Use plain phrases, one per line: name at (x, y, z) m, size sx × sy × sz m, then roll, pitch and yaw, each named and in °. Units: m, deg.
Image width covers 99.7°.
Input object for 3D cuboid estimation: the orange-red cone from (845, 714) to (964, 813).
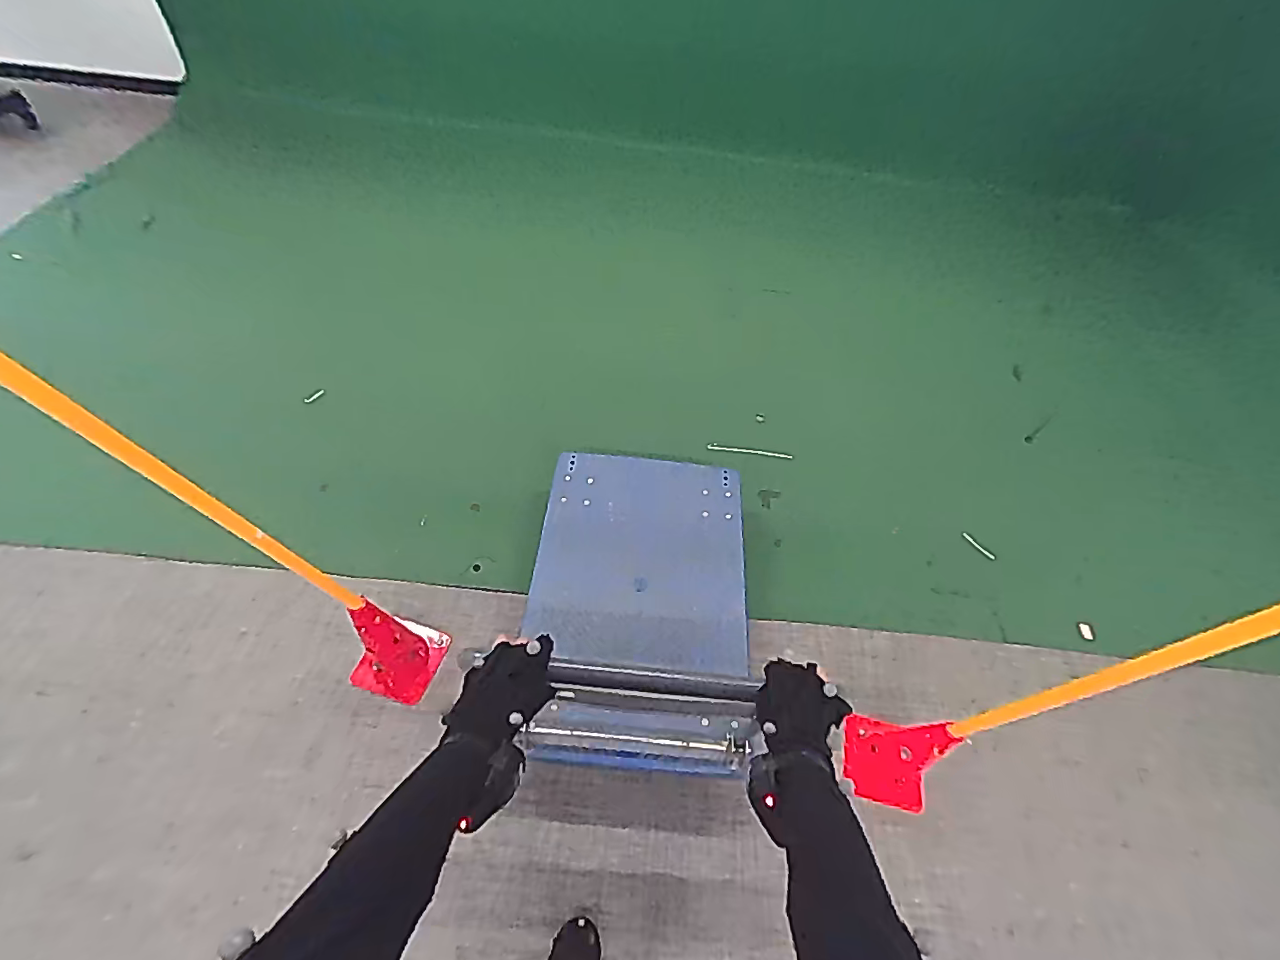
orange-red cone at (0.638, 0.620, 1.249) m, size 0.198 × 0.360 × 0.199 m, roll 15°, pitch 54°, yaw 7°
